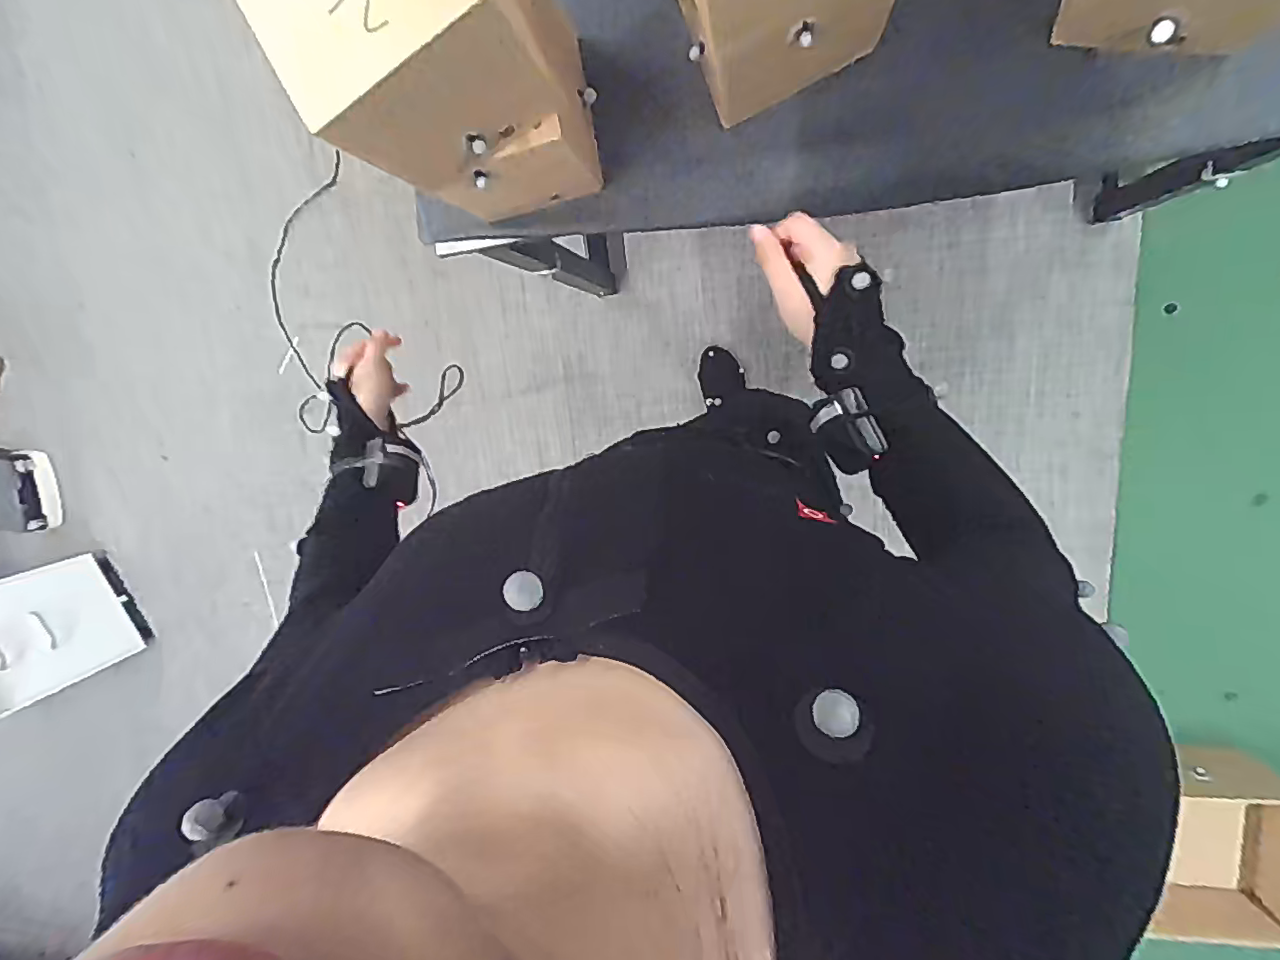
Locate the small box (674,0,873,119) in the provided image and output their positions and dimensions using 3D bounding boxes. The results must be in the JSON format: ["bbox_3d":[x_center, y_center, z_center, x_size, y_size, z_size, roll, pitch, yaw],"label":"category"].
[{"bbox_3d":[0.123,-0.502,0.530,0.179,0.176,0.168,-21,98,15],"label":"small box"}]

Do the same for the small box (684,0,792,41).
[{"bbox_3d":[0.089,-0.463,0.373,0.179,0.176,0.168,-18,99,15],"label":"small box"}]

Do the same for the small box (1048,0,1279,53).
[{"bbox_3d":[0.486,-0.504,0.448,0.168,0.176,0.179,12,105,10],"label":"small box"}]
